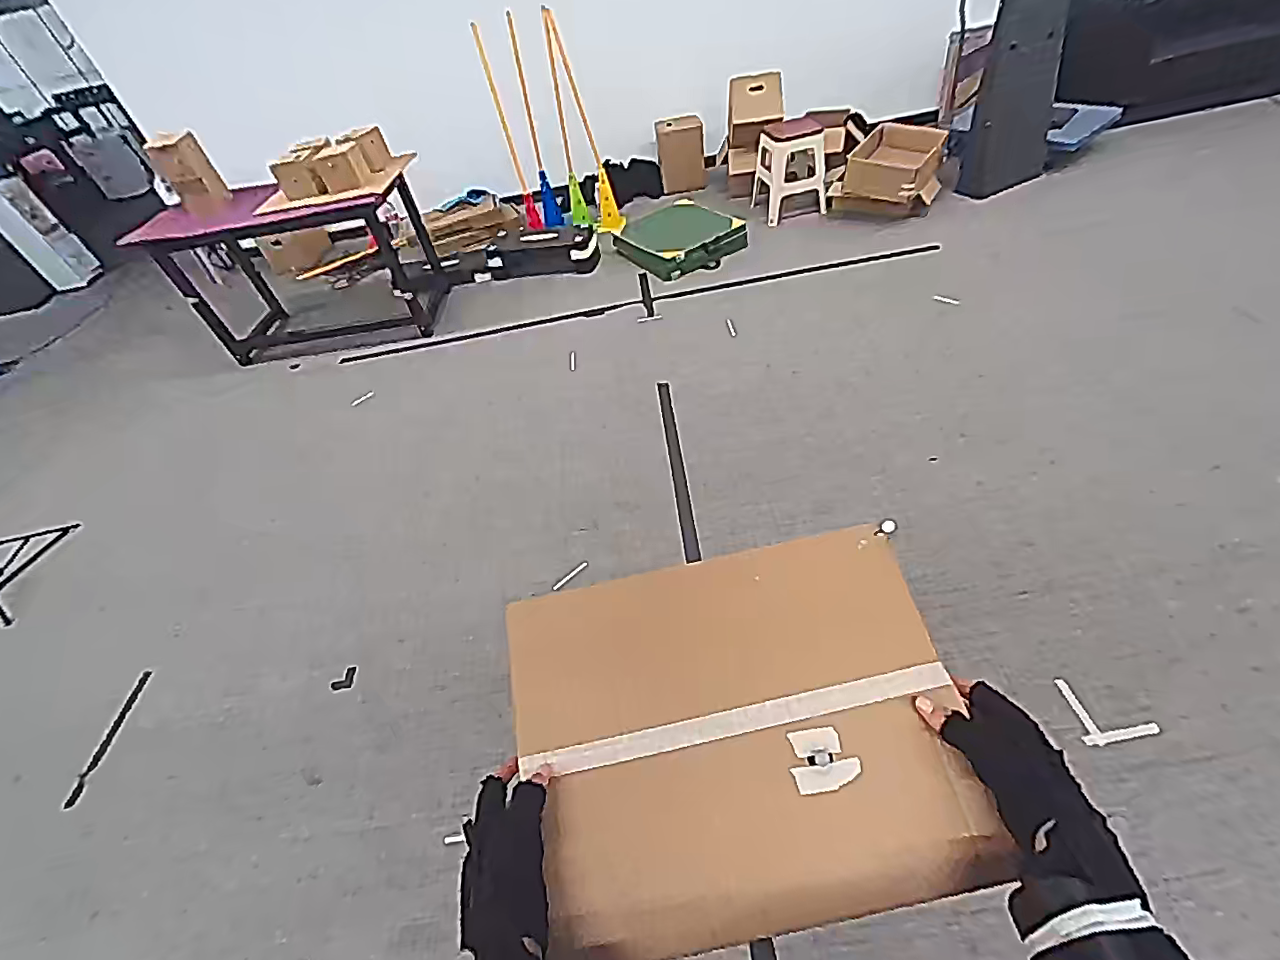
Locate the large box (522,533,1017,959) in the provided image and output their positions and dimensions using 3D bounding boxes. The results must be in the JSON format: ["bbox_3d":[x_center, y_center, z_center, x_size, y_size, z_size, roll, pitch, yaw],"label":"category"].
[{"bbox_3d":[0.107,0.300,0.647,0.408,0.320,0.320,-12,63,0],"label":"large box"}]
